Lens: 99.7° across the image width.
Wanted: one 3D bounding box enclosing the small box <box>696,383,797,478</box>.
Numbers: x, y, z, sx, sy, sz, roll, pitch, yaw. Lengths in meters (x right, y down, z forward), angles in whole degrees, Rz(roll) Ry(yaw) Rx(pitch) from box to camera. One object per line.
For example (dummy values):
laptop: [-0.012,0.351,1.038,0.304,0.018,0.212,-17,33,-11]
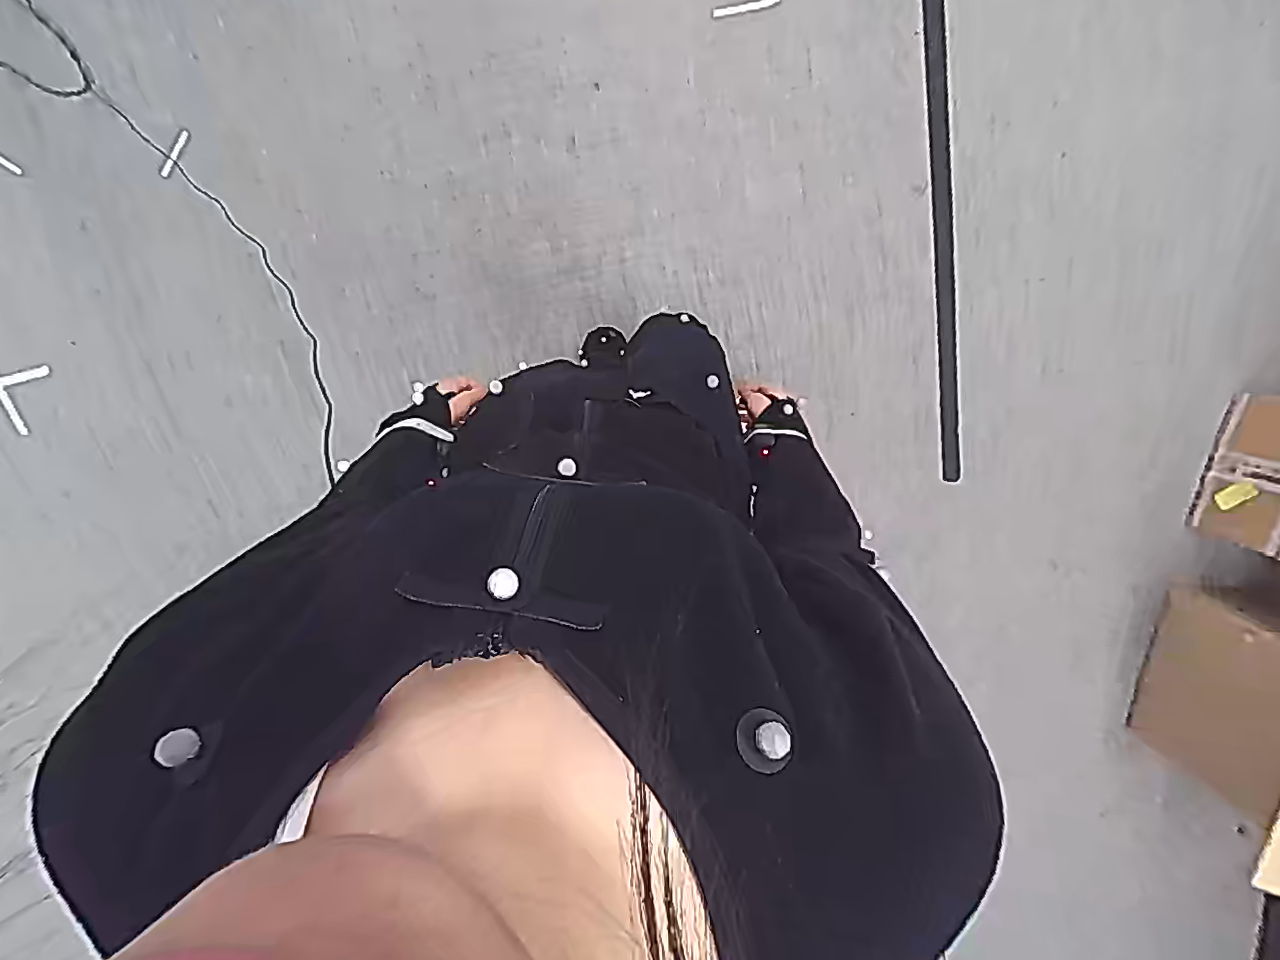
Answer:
small box: [0.266,-0.135,1.400,0.179,0.176,0.168,40,102,-13]
